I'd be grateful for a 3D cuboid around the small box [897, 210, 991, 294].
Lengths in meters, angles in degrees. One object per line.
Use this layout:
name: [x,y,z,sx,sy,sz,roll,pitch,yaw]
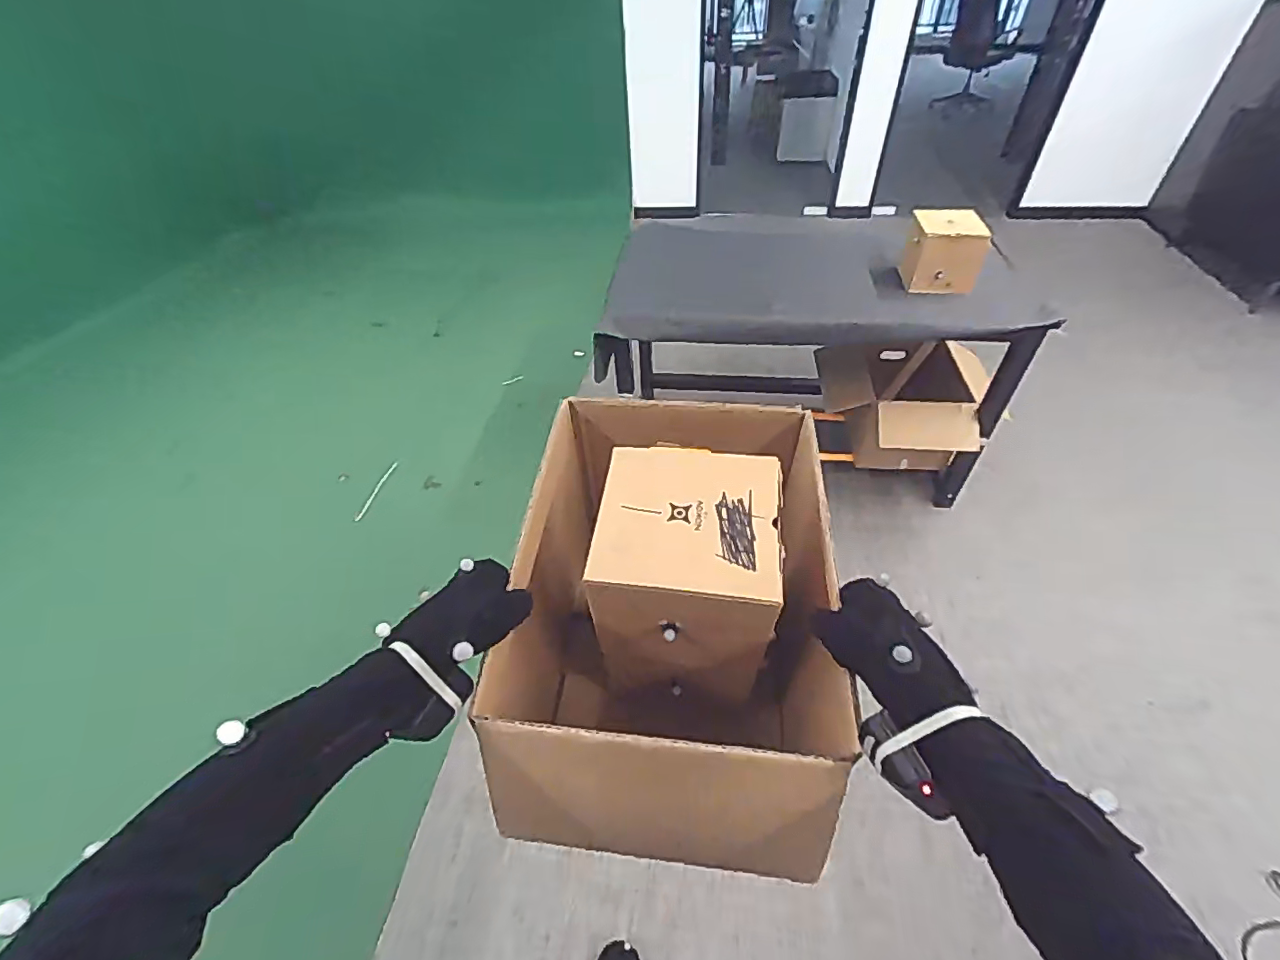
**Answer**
small box: [0.852,-0.649,1.536,0.168,0.176,0.179,4,46,7]
